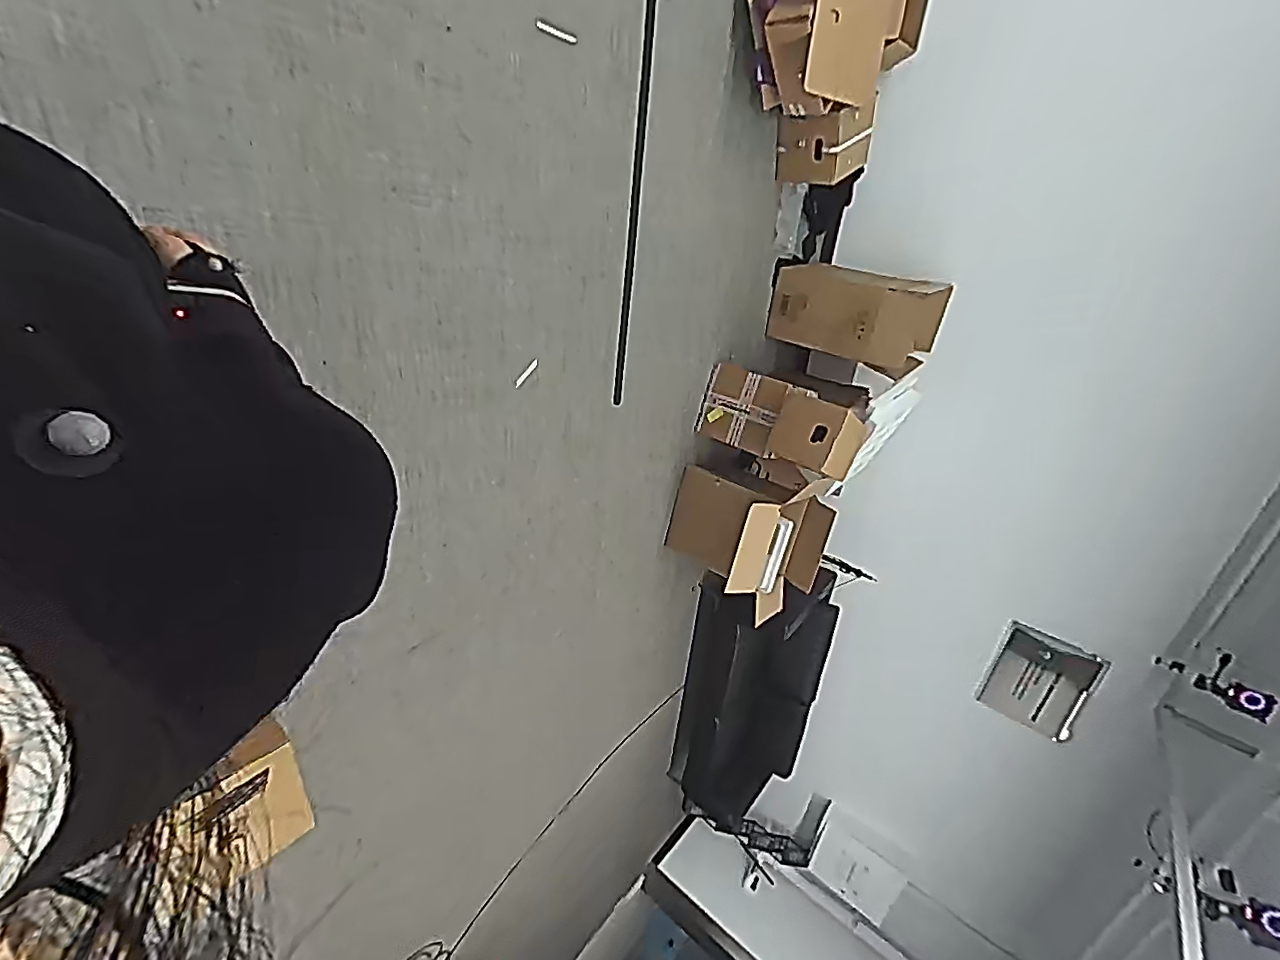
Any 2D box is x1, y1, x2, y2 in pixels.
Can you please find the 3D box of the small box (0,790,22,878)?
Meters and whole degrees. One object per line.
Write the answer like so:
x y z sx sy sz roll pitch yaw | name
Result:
-0.843 0.397 0.598 0.168 0.176 0.179 -21 126 -48 | small box

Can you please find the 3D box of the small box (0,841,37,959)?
-0.716 0.458 0.512 0.168 0.176 0.179 -22 127 -48 | small box

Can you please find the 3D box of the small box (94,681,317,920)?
-0.553 0.389 0.696 0.168 0.176 0.179 -25 129 -45 | small box
